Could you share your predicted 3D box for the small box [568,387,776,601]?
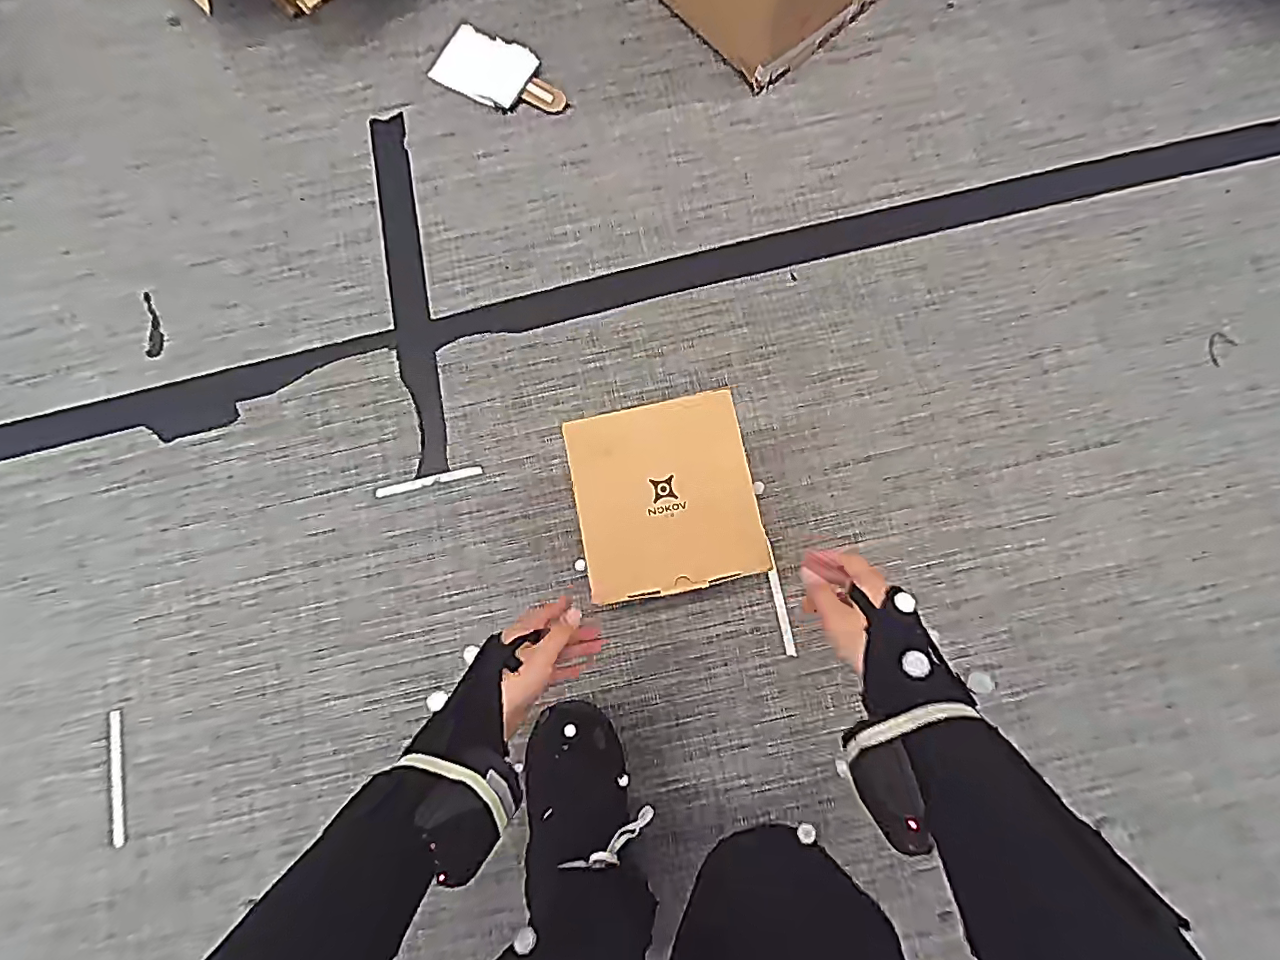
[{"bbox_3d":[0.027,0.024,0.573,0.168,0.176,0.179,-12,81,0],"label":"small box"}]
